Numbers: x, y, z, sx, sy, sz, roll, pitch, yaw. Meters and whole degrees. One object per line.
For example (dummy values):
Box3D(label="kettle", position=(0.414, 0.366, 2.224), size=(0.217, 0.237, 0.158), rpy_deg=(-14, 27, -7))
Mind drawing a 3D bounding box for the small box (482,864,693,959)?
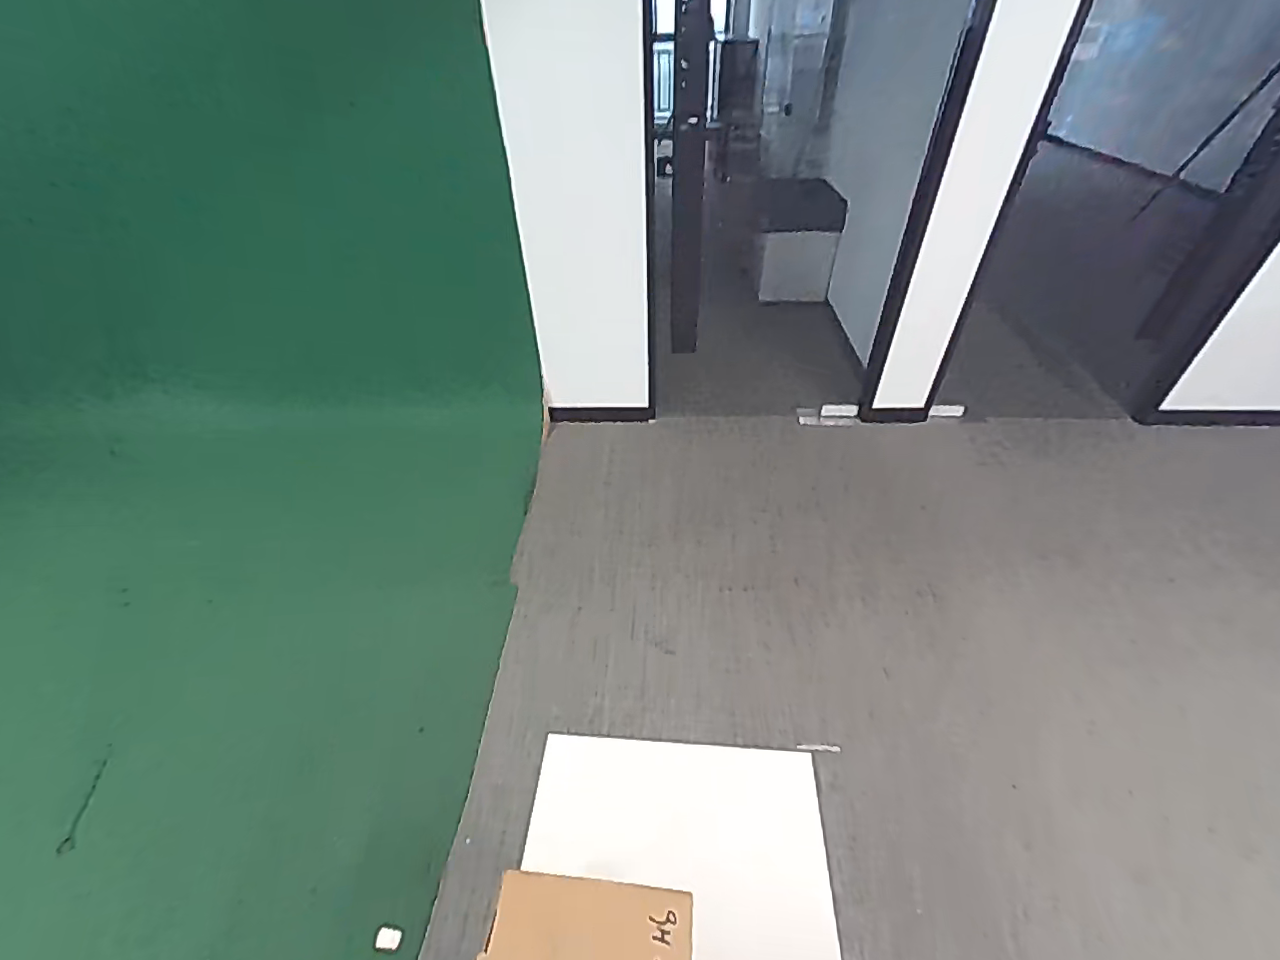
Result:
Box3D(label="small box", position=(-0.048, 0.473, 0.480), size=(0.179, 0.176, 0.168), rpy_deg=(5, 39, 3))
